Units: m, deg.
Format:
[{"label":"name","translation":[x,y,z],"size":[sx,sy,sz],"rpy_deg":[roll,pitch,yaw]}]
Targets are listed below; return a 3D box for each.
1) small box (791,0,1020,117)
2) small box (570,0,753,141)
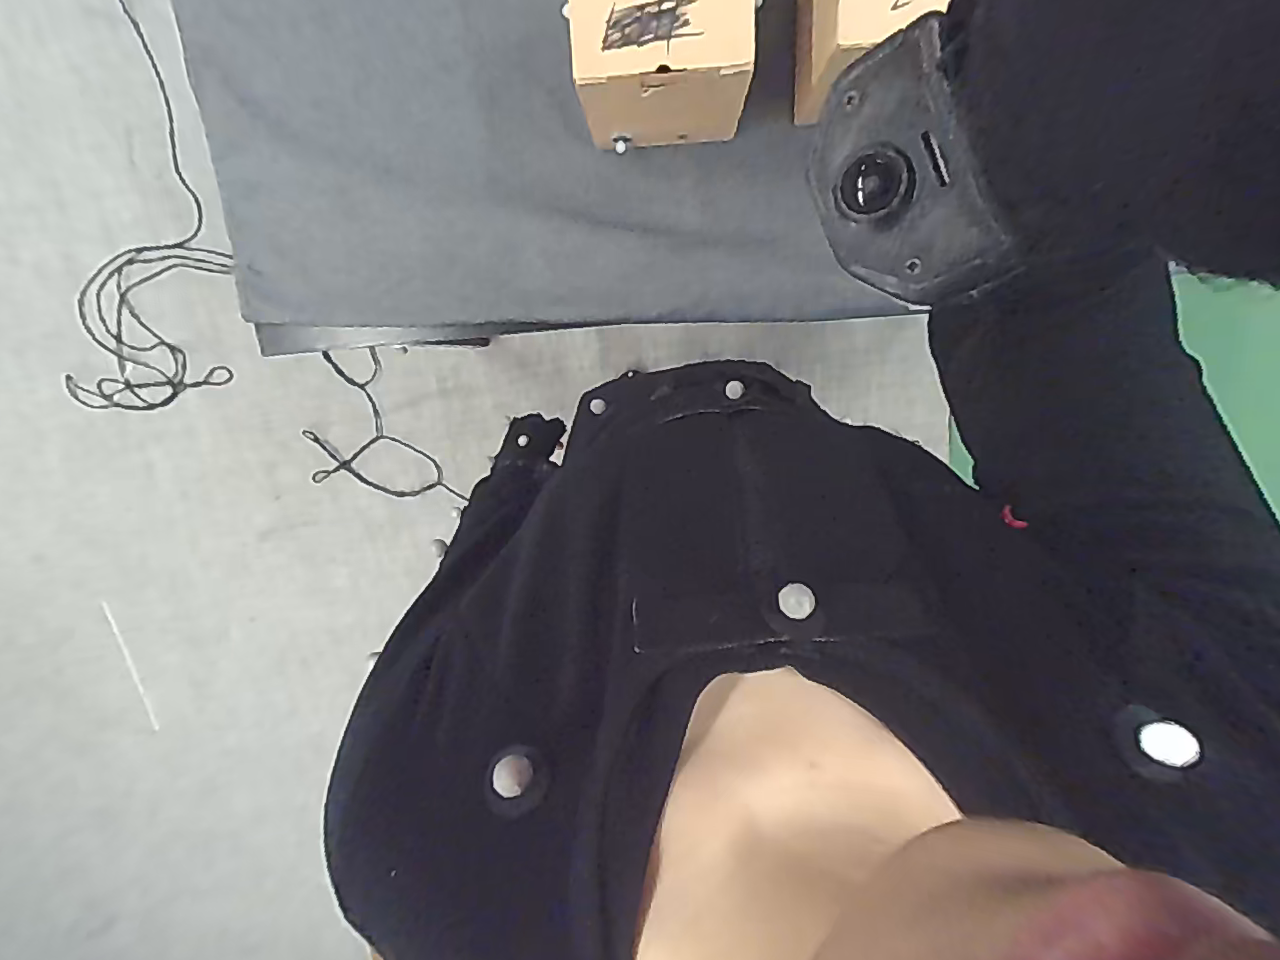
[{"label":"small box","translation":[0.253,-0.490,0.533],"size":[0.168,0.176,0.179],"rpy_deg":[2,106,4]},{"label":"small box","translation":[0.023,-0.468,0.549],"size":[0.168,0.176,0.179],"rpy_deg":[-2,102,4]}]
